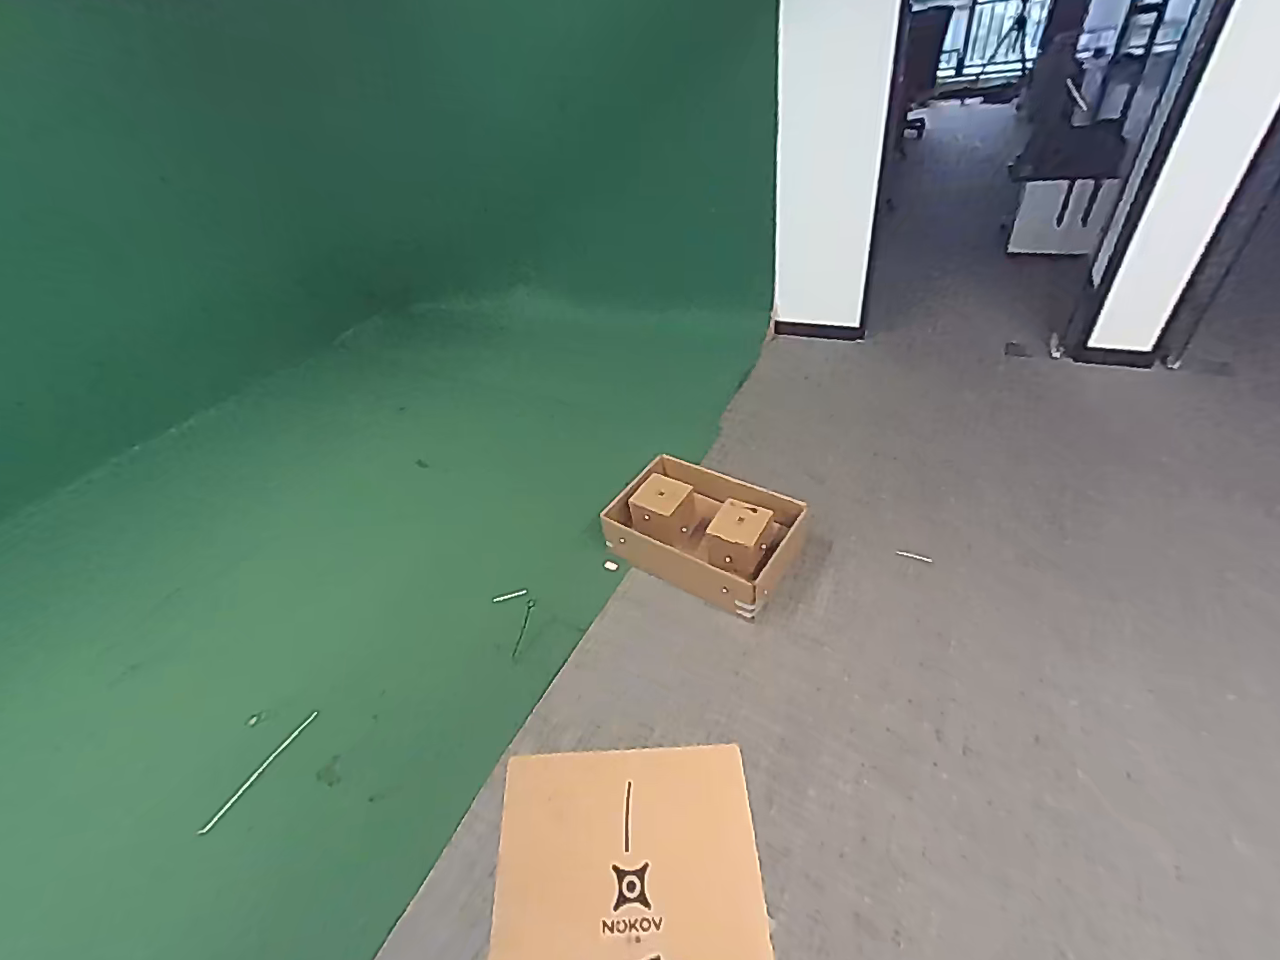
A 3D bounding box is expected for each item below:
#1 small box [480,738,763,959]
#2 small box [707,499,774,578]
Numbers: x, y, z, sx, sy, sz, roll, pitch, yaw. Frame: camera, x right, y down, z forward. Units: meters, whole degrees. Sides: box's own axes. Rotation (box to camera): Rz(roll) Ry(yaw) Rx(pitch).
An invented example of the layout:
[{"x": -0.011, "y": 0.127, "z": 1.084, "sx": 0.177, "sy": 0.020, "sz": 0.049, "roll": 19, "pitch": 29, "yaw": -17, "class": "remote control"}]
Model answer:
[{"x": -0.011, "y": 0.305, "z": 0.388, "sx": 0.168, "sy": 0.176, "sz": 0.179, "roll": -2, "pitch": 47, "yaw": -2, "class": "small box"}, {"x": 0.341, "y": 0.197, "z": 1.805, "sx": 0.168, "sy": 0.176, "sz": 0.179, "roll": 17, "pitch": 49, "yaw": 29, "class": "small box"}]
